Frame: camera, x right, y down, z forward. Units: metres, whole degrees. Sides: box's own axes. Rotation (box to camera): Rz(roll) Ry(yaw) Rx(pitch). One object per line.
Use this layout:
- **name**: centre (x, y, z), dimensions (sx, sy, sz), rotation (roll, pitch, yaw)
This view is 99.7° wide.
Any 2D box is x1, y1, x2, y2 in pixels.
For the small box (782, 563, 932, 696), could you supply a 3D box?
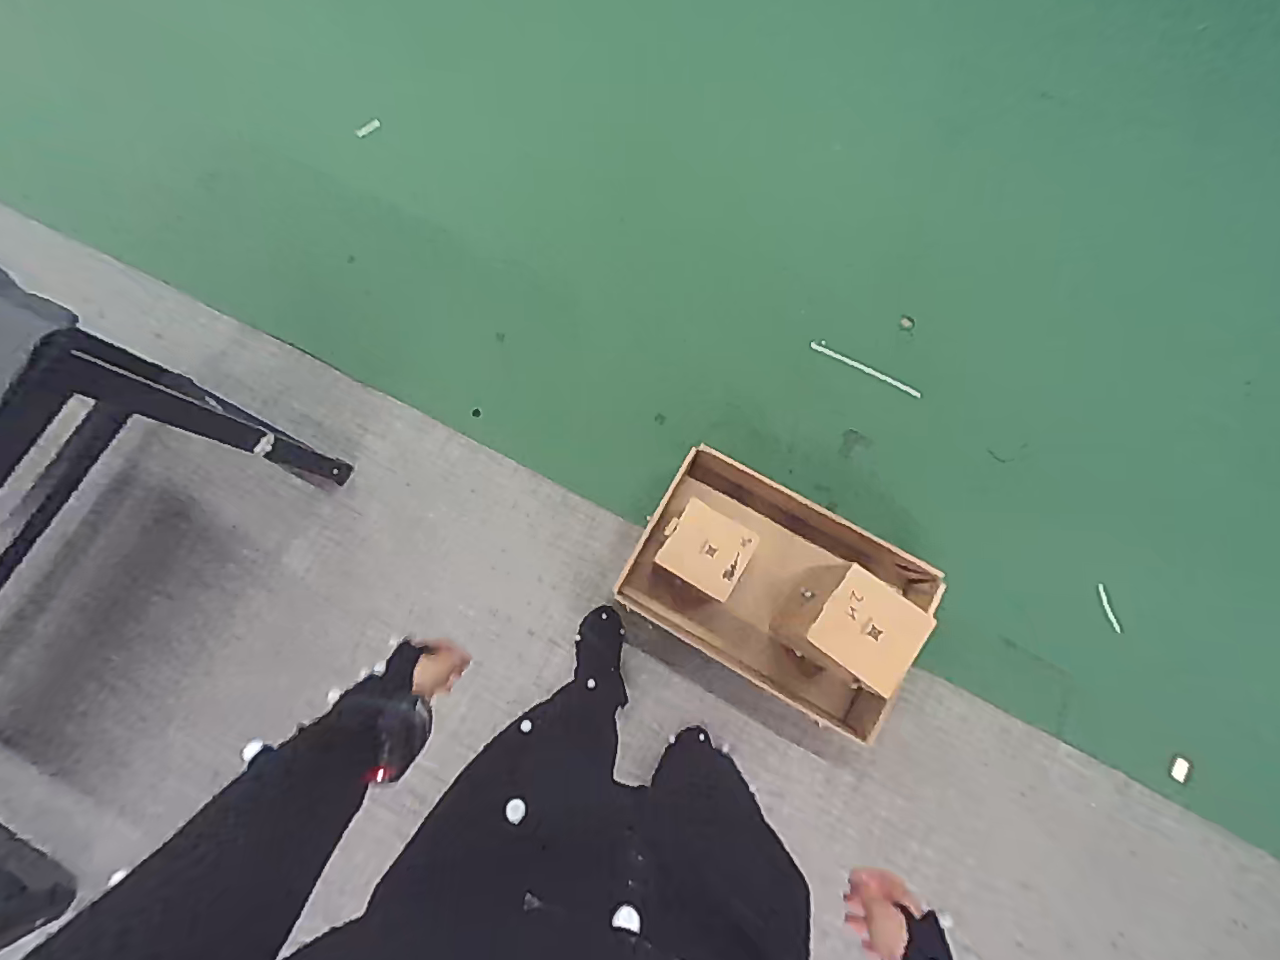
- **small box**: centre (0.402, 0.274, 1.030), dimensions (0.179, 0.176, 0.168), rotation (37, 82, 8)

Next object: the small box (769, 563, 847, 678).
- **small box**: centre (0.406, 0.301, 1.193), dimensions (0.168, 0.176, 0.179), rotation (36, 83, 8)
